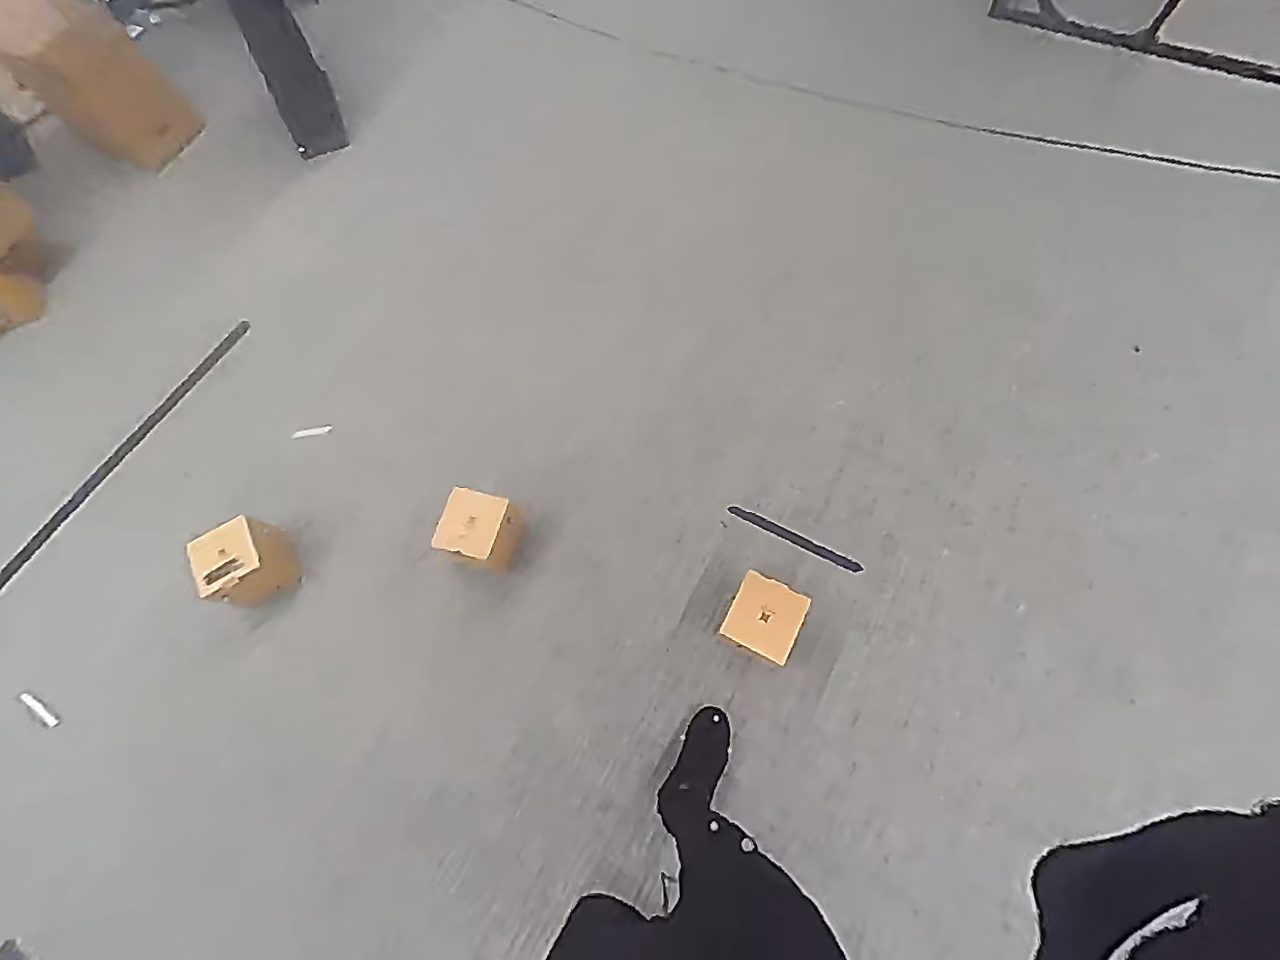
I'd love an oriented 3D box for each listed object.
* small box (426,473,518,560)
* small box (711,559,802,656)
[{"bbox_3d":[-0.455,0.106,1.501,0.168,0.176,0.179,14,71,9],"label":"small box"},{"bbox_3d":[0.288,0.330,1.372,0.168,0.176,0.179,26,73,13],"label":"small box"}]
